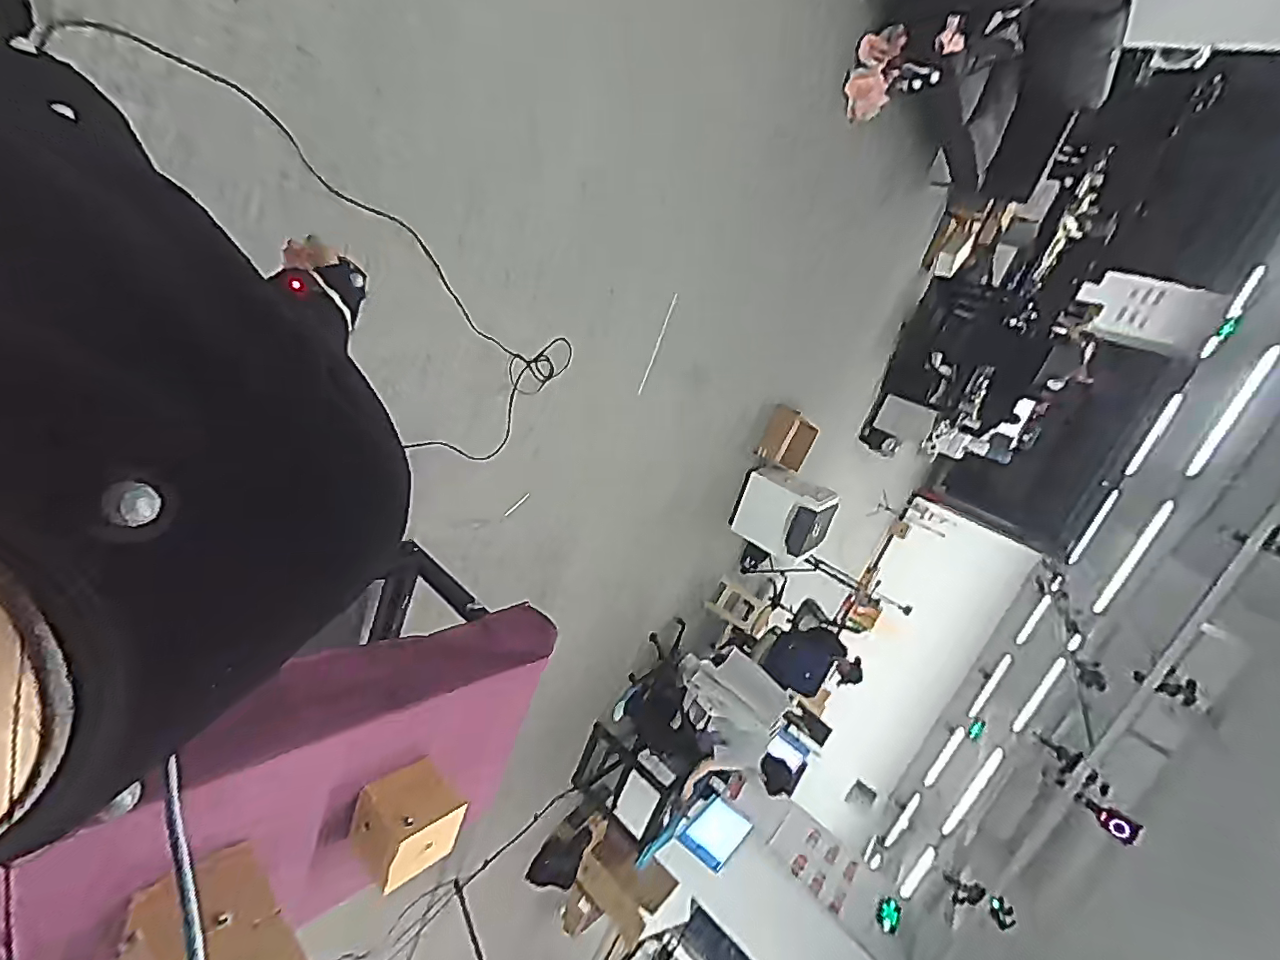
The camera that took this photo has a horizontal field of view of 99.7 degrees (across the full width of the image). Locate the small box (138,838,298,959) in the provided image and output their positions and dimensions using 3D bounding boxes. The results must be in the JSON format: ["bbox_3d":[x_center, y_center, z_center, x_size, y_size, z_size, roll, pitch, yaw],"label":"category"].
[{"bbox_3d":[-0.751,0.793,0.963,0.179,0.176,0.168,0,115,-54],"label":"small box"}]

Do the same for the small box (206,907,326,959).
[{"bbox_3d":[-0.631,0.866,0.878,0.179,0.176,0.168,-2,117,-55],"label":"small box"}]

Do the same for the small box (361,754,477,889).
[{"bbox_3d":[-0.526,0.796,1.284,0.179,0.176,0.168,-2,118,-53],"label":"small box"}]
